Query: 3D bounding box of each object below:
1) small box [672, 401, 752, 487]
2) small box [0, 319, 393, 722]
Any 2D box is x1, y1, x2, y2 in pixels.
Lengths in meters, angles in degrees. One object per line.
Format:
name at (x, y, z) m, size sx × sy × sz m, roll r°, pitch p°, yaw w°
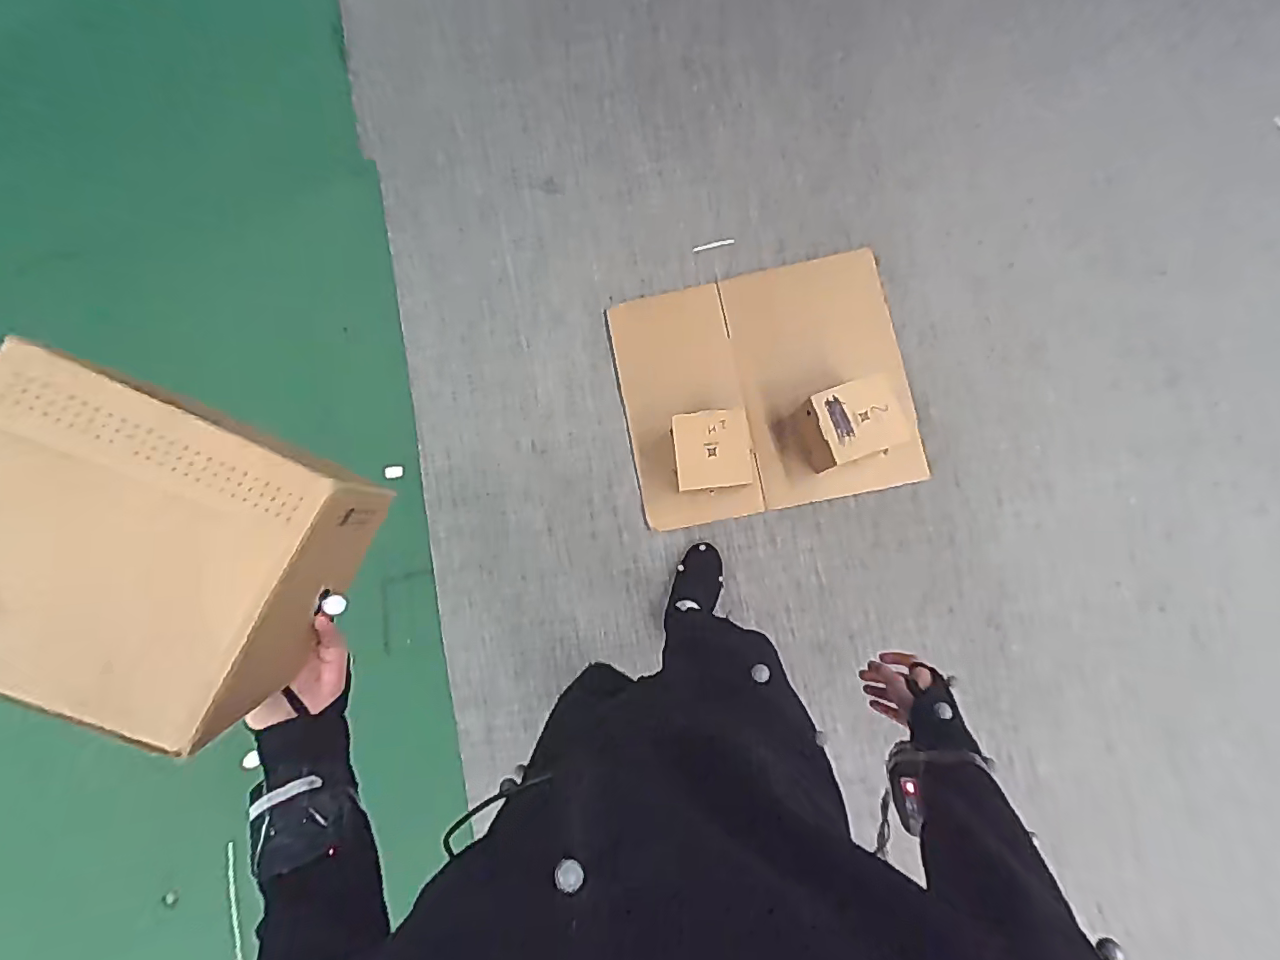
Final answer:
small box at (0.166, -0.077, 1.275) m, size 0.168 × 0.176 × 0.179 m, roll -6°, pitch 84°, yaw 4°
small box at (-0.291, 0.023, 0.364) m, size 0.179 × 0.168 × 0.176 m, roll 28°, pitch 80°, yaw -10°
